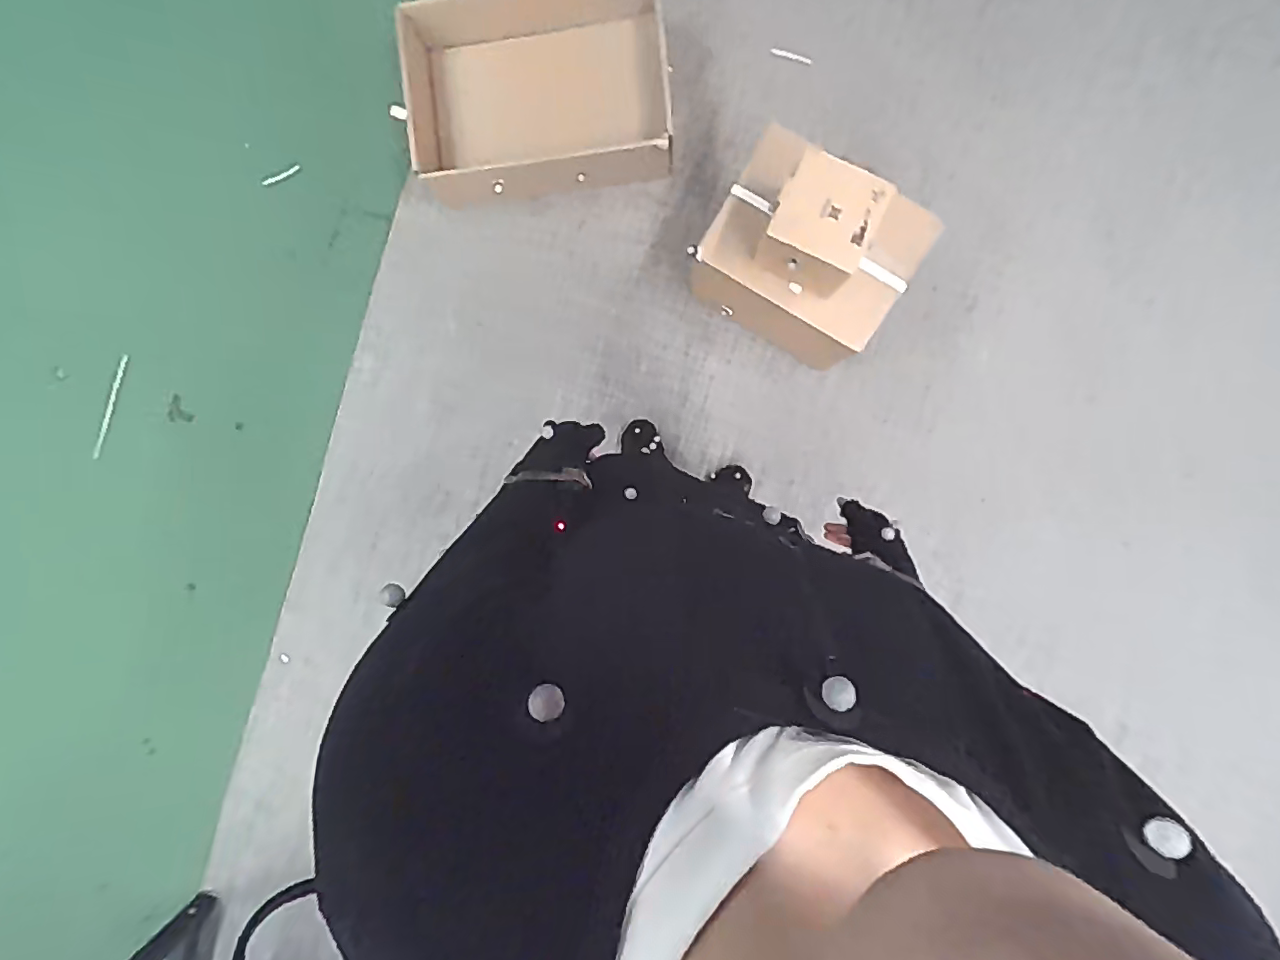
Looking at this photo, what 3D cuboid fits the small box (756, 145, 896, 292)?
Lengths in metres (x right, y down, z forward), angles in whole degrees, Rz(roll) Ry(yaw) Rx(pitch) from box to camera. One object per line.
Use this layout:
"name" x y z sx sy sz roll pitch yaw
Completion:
"small box" 0.336 -0.479 1.021 0.179 0.176 0.168 26 96 3
